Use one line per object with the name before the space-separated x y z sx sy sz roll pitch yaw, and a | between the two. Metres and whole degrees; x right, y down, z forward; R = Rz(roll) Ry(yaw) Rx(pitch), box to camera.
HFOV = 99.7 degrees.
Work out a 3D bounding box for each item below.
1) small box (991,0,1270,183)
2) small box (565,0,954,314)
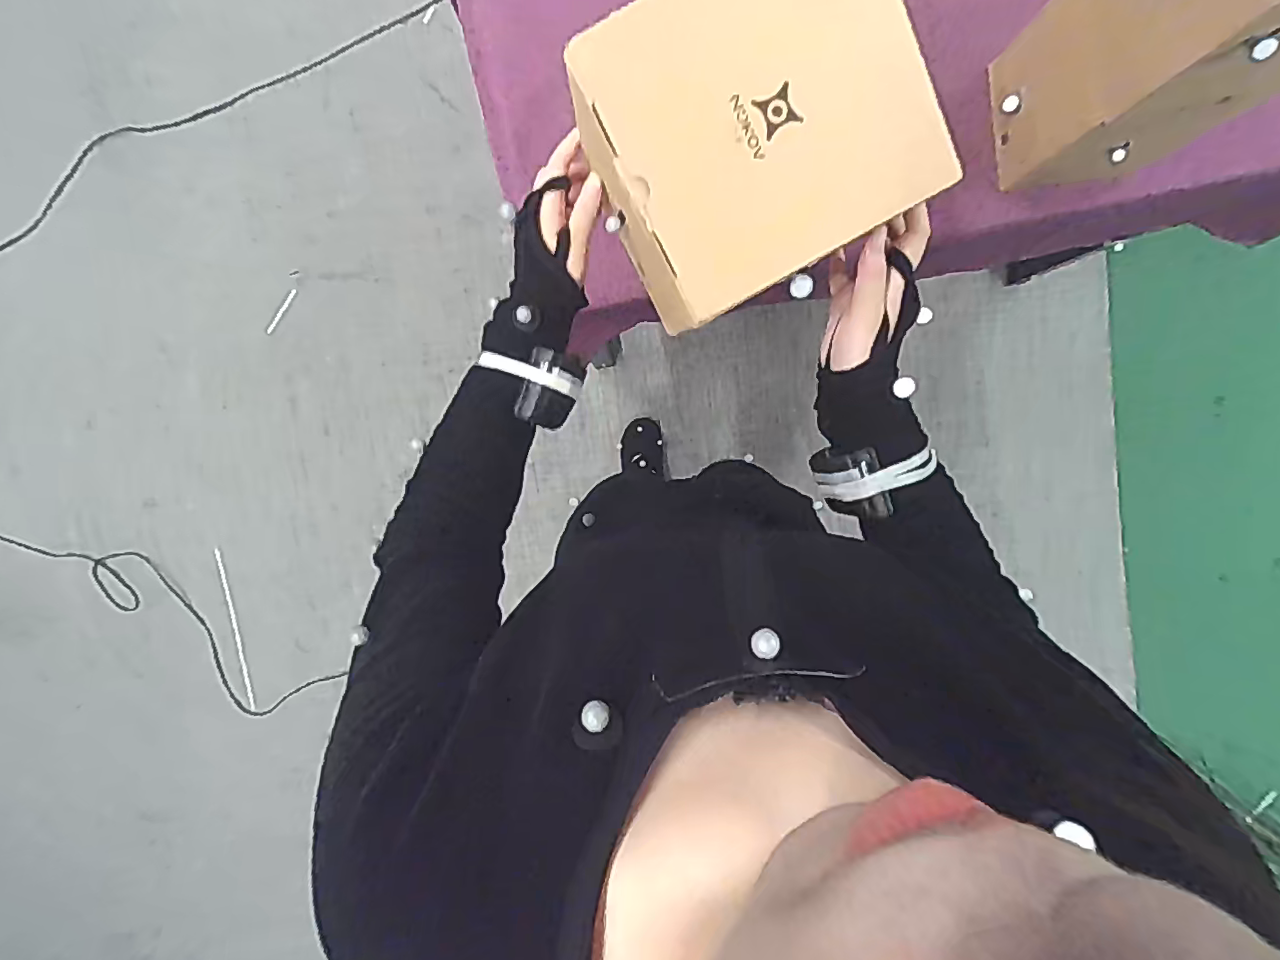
small box | 0.552 -0.477 0.631 0.179 0.176 0.168 -8 94 3
small box | 0.068 -0.232 0.378 0.179 0.176 0.168 -27 102 6
